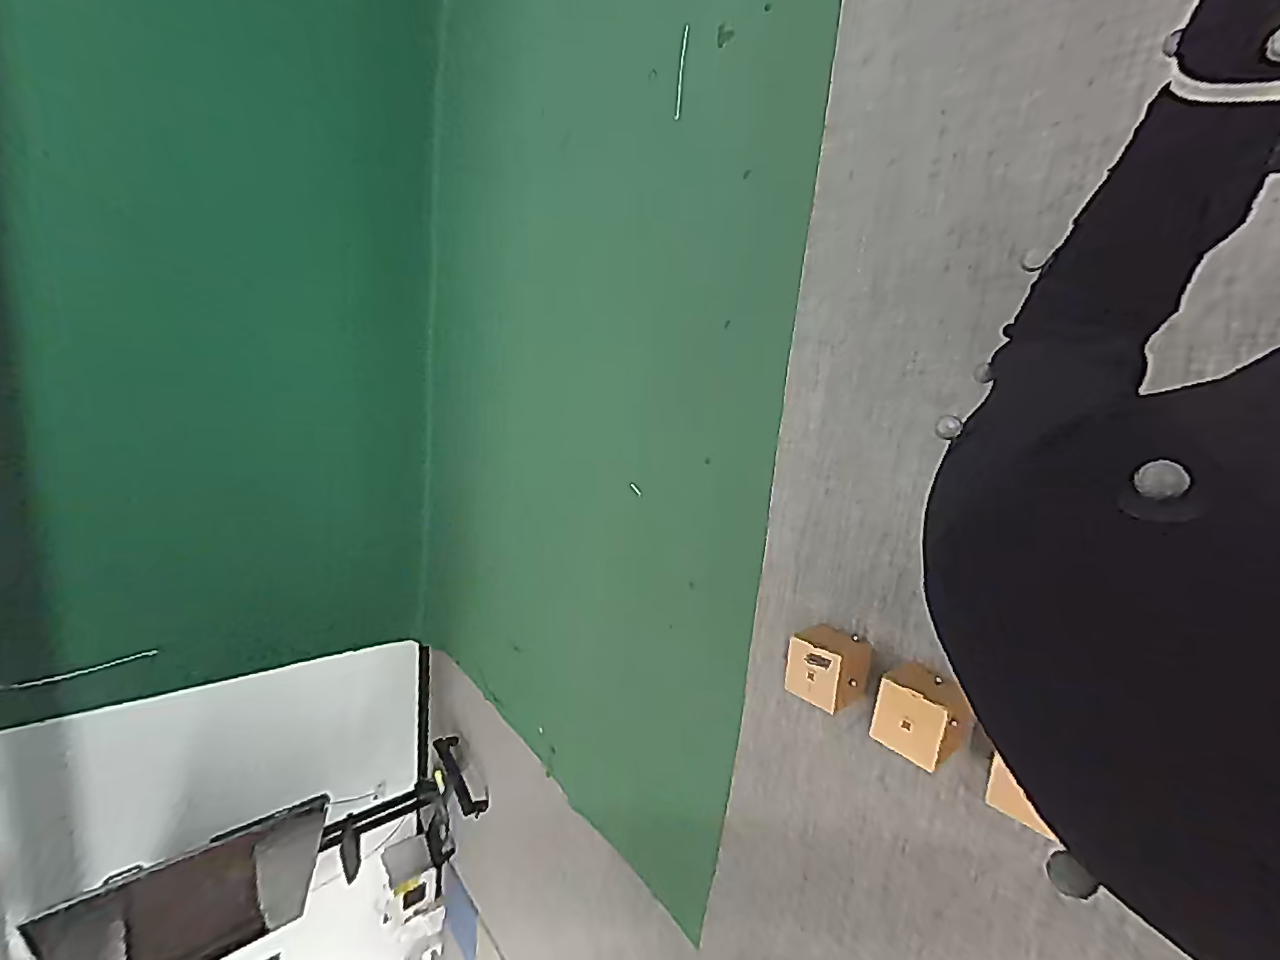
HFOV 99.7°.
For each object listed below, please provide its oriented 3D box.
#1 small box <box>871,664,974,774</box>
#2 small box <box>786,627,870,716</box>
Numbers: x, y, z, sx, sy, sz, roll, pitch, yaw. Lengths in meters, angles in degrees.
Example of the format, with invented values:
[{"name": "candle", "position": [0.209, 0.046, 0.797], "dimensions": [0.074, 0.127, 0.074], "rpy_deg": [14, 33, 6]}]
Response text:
[{"name": "small box", "position": [0.727, 0.603, 1.388], "dimensions": [0.168, 0.176, 0.179], "rpy_deg": [19, 106, 48]}, {"name": "small box", "position": [0.554, 0.551, 1.588], "dimensions": [0.168, 0.176, 0.179], "rpy_deg": [14, 103, 49]}]
